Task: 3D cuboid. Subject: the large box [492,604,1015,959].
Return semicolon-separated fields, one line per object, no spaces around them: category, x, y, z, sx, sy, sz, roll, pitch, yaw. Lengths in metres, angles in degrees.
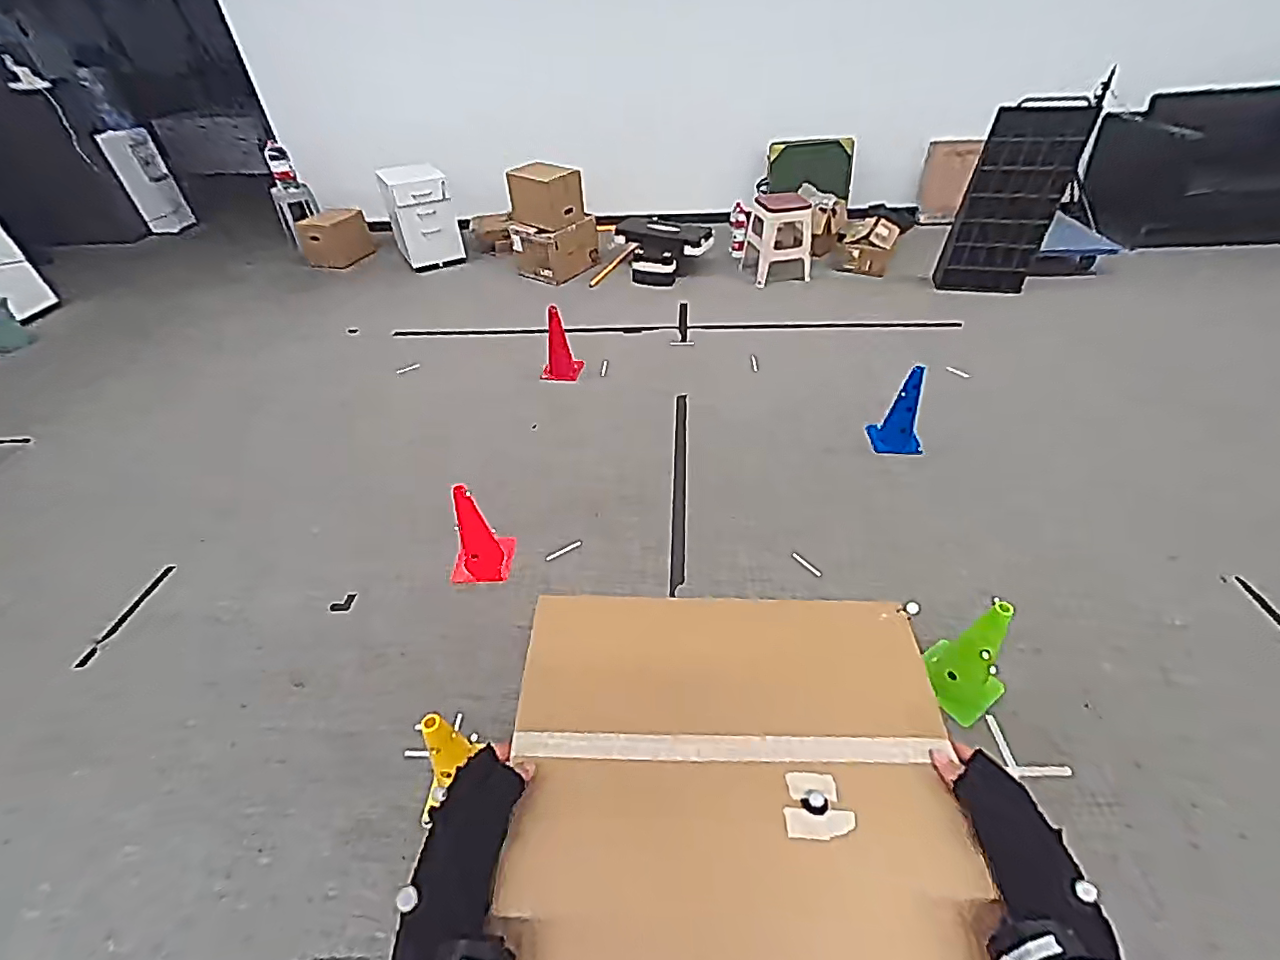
large box;0.085;0.355;0.613;0.408;0.320;0.320;1;47;1

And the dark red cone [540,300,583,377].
dark red cone;-0.420;-0.727;2.763;0.201;0.394;0.202;5;43;8

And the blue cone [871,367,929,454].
blue cone;1.112;-0.300;2.252;0.192;0.380;0.193;3;43;6

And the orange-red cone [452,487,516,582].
orange-red cone;-0.562;0.163;1.825;0.198;0.360;0.199;-2;44;3

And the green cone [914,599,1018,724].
green cone;0.896;0.440;1.423;0.202;0.368;0.200;-25;47;-24
